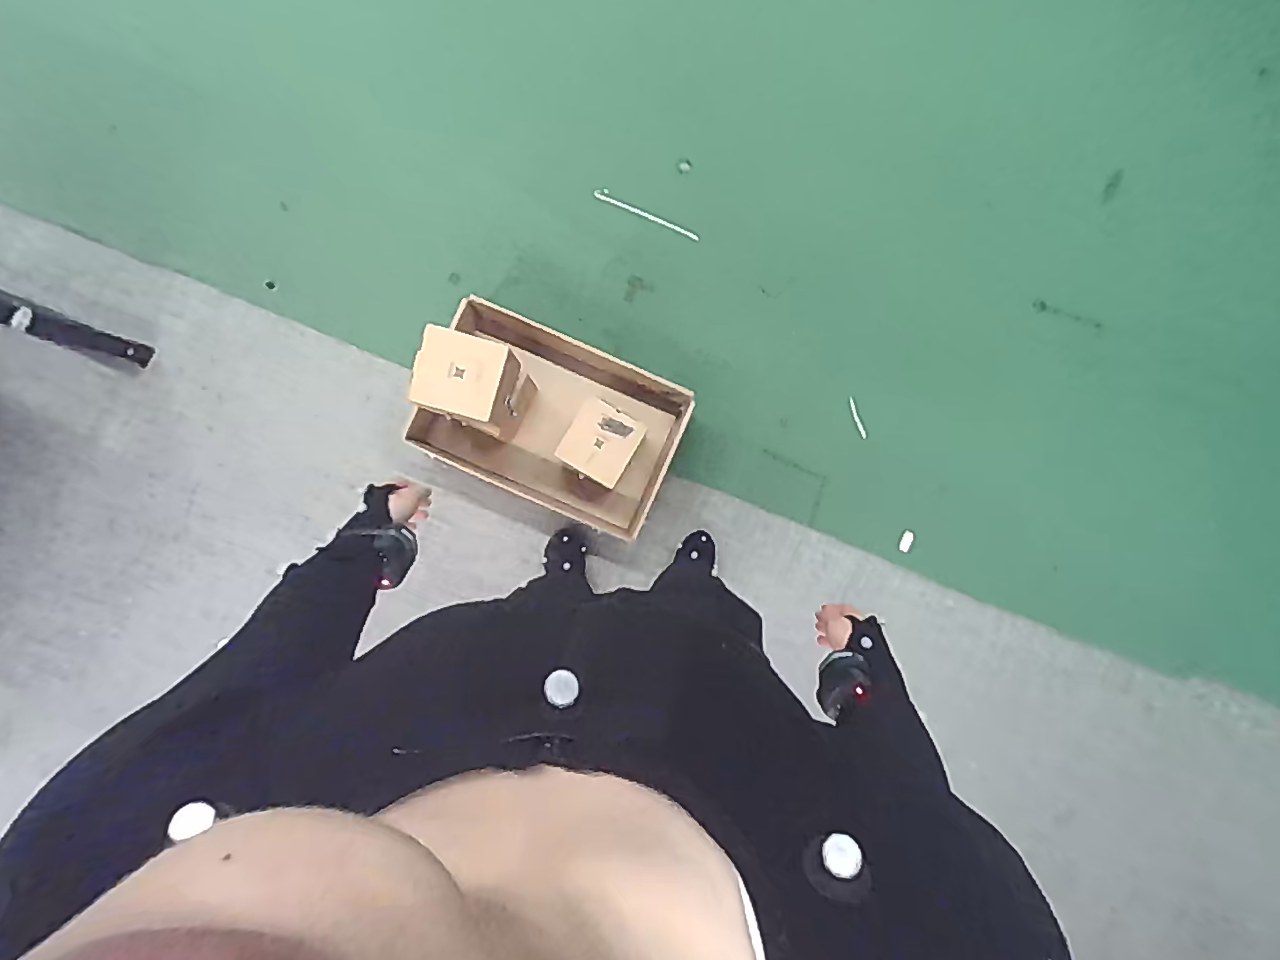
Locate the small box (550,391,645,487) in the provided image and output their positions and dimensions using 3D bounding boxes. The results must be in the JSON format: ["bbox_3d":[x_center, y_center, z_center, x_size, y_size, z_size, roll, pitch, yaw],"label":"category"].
[{"bbox_3d":[-0.105,-0.097,1.349,0.168,0.176,0.179,30,89,-2],"label":"small box"}]

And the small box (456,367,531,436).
[{"bbox_3d":[-0.391,-0.217,1.335,0.179,0.176,0.168,25,88,-2],"label":"small box"}]

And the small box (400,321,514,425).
[{"bbox_3d":[-0.386,-0.221,1.170,0.179,0.176,0.168,14,90,-5],"label":"small box"}]
